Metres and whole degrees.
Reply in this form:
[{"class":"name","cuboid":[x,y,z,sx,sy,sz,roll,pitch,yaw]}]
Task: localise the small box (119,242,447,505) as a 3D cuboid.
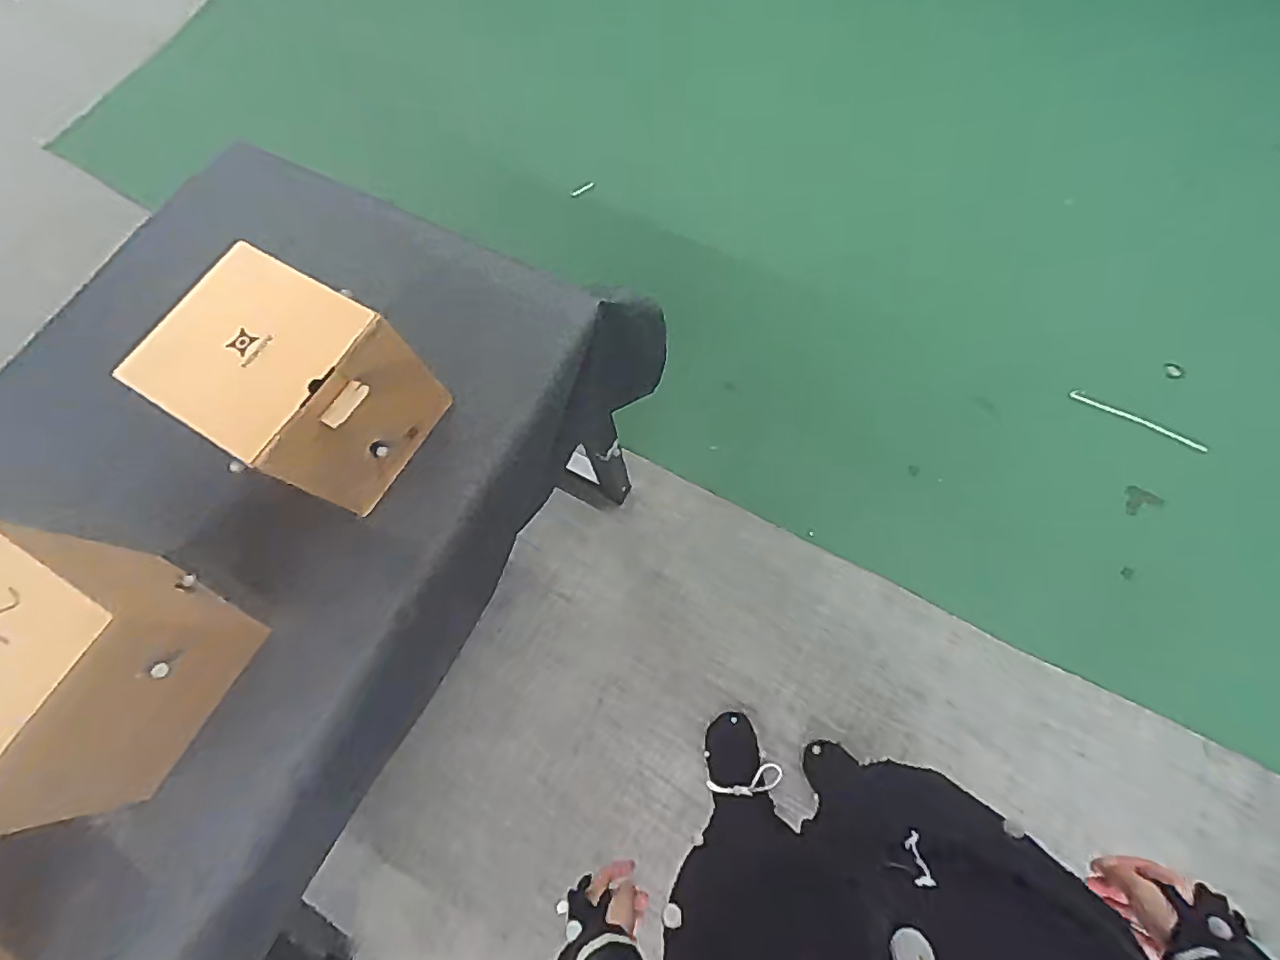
[{"class":"small box","cuboid":[-0.335,-0.094,0.547,0.179,0.176,0.168,28,75,12]}]
